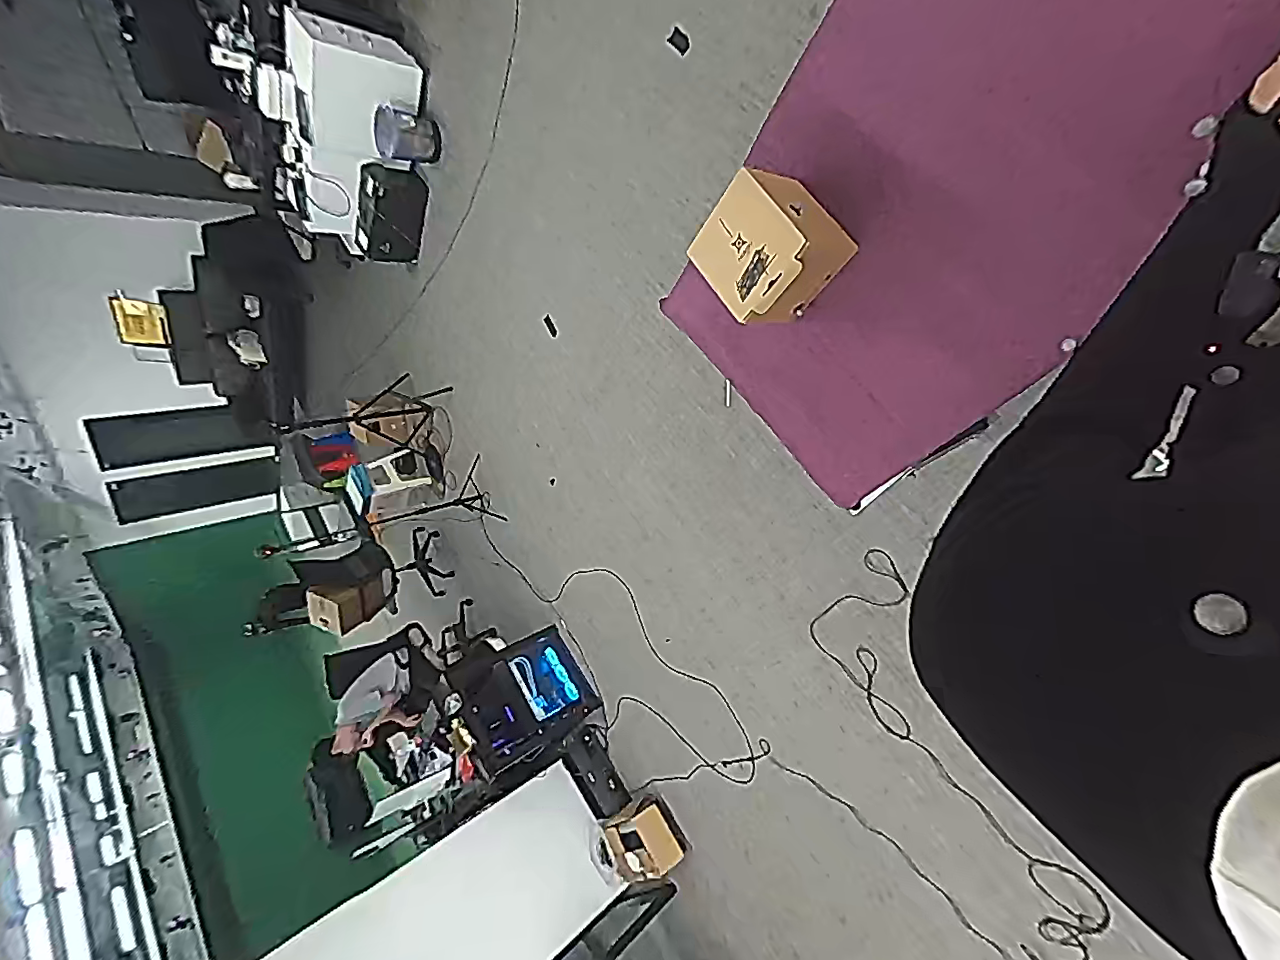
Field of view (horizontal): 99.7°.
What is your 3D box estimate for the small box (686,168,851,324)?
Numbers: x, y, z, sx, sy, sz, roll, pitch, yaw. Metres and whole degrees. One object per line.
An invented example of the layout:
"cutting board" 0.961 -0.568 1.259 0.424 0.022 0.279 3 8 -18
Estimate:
"small box" 0.218 -0.389 0.914 0.179 0.176 0.168 58 136 16
